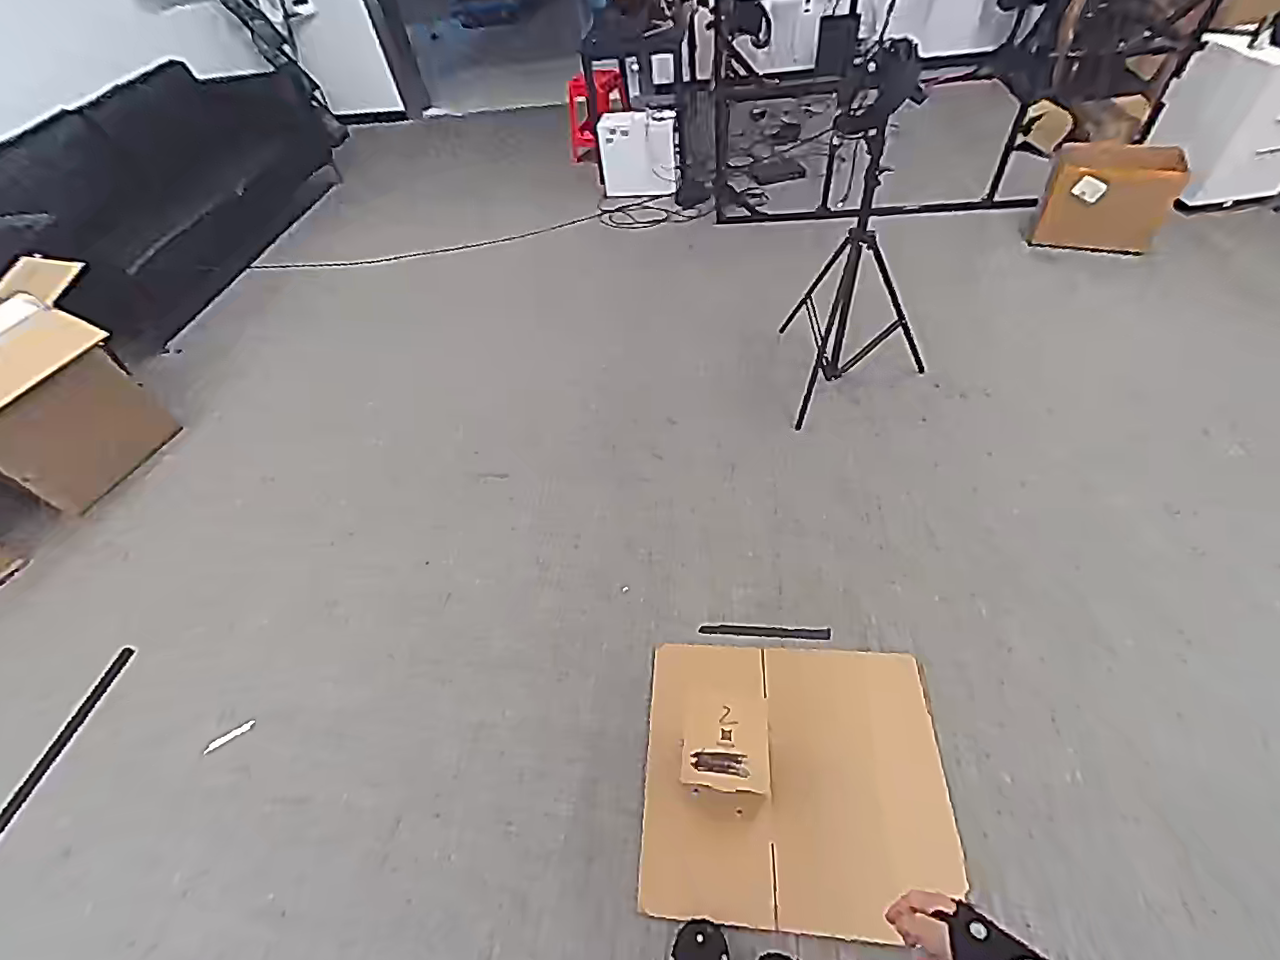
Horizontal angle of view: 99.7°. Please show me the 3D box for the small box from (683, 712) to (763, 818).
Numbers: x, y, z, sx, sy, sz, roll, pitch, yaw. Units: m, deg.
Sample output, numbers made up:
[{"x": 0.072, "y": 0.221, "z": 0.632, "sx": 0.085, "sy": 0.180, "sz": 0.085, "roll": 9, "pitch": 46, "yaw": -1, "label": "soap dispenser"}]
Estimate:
[{"x": 0.193, "y": 0.661, "z": 1.249, "sx": 0.168, "sy": 0.176, "sz": 0.179, "roll": 4, "pitch": 51, "yaw": 10, "label": "small box"}]
